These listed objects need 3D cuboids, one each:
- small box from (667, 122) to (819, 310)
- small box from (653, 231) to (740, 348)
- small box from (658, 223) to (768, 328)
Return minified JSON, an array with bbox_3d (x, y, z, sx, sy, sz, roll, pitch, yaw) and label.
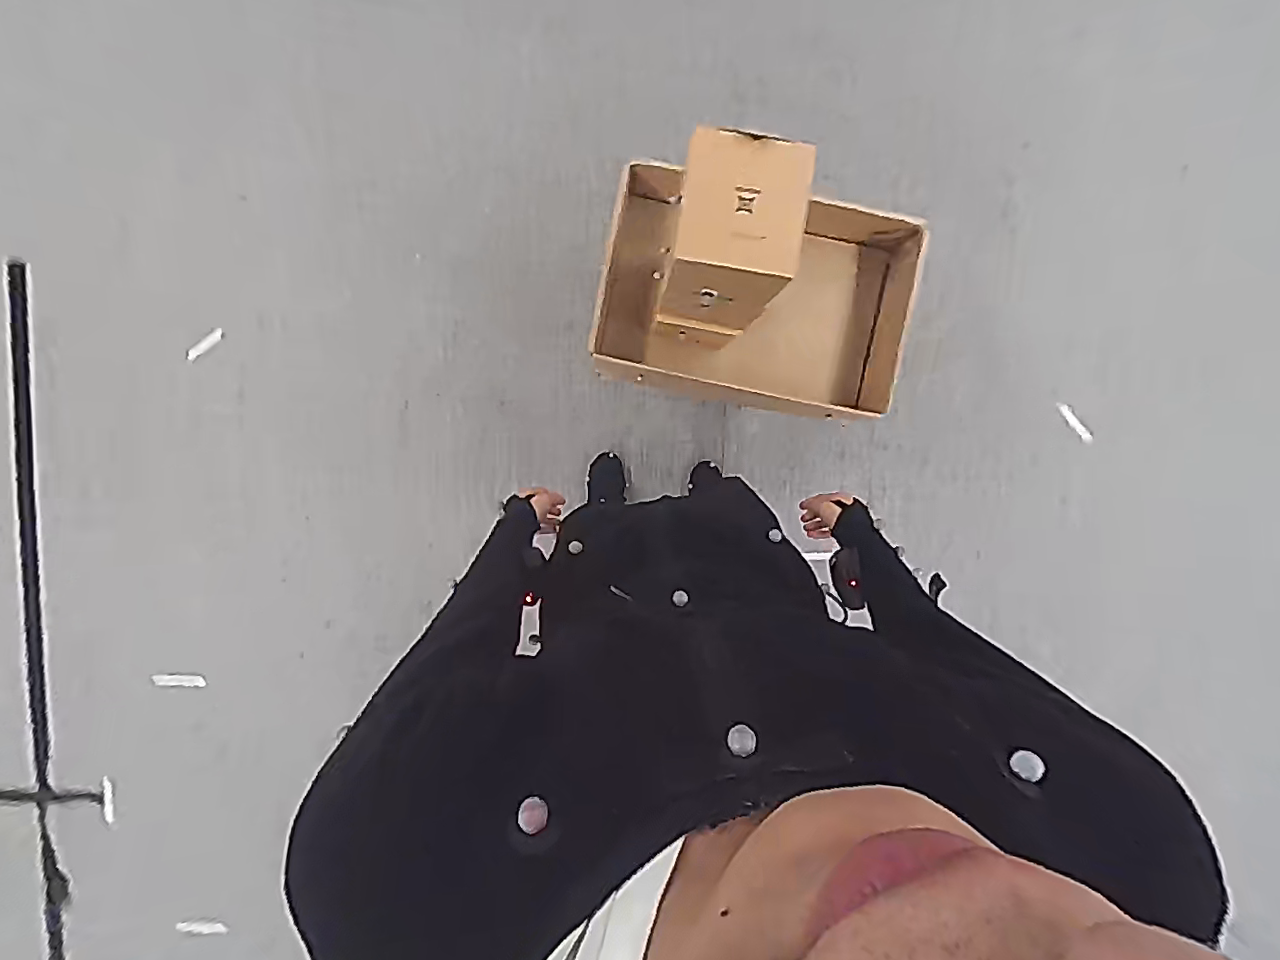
[{"bbox_3d":[0.135,-0.364,0.776,0.168,0.176,0.179,9,93,-2],"label":"small box"},{"bbox_3d":[0.122,-0.378,1.104,0.168,0.176,0.179,10,93,-4],"label":"small box"},{"bbox_3d":[0.133,-0.374,0.940,0.179,0.176,0.168,11,93,-4],"label":"small box"}]
